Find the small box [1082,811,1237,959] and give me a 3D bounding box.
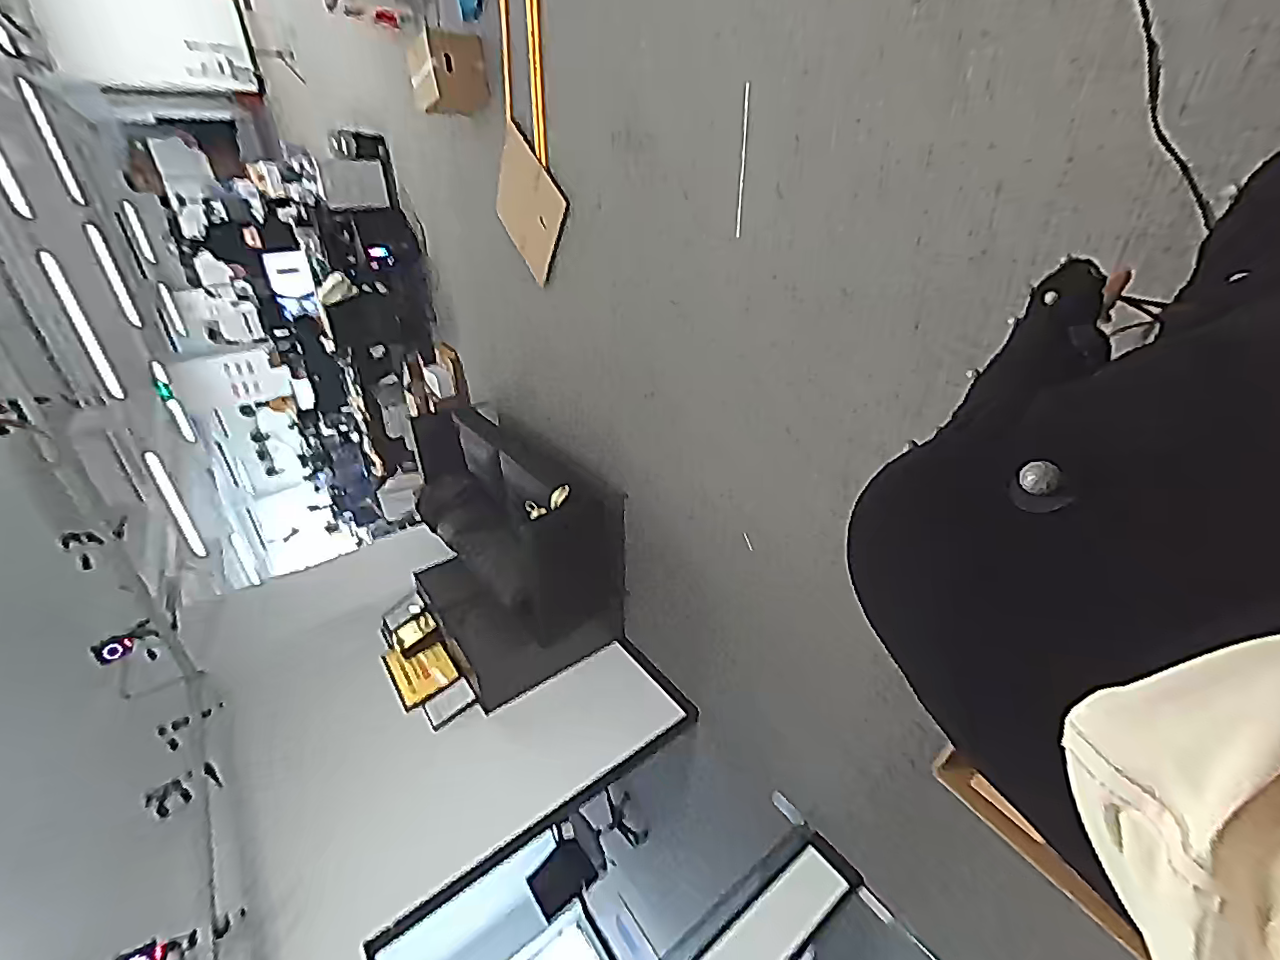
[{"bbox_3d":[1.114,0.867,1.161,0.179,0.176,0.168,36,136,40],"label":"small box"}]
